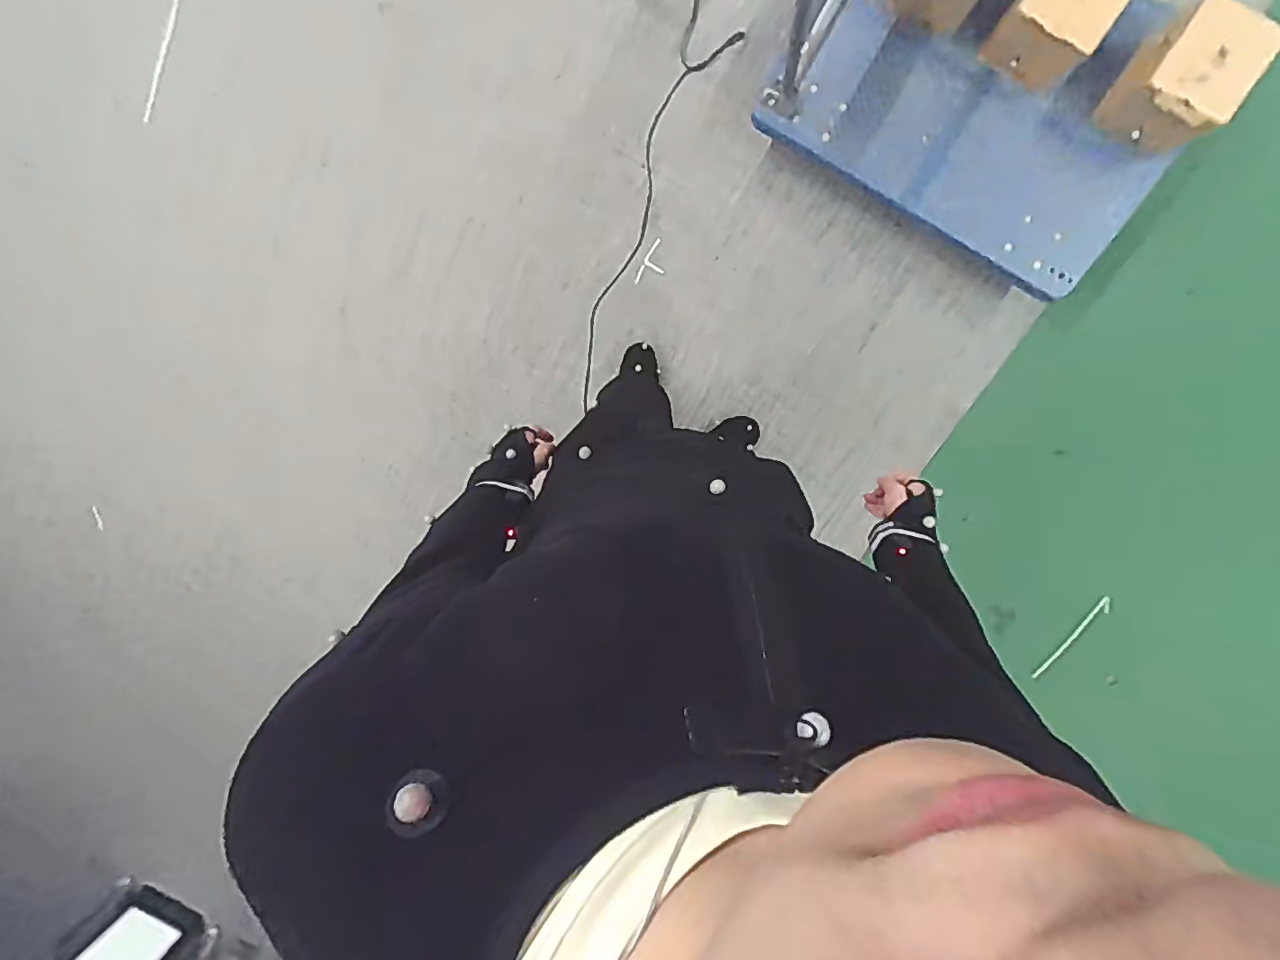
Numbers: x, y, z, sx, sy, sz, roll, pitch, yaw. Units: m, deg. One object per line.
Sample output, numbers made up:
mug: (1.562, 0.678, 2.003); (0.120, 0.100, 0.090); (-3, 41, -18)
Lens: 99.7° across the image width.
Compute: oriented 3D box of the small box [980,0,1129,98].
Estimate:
small box: (0.844, -0.938, 1.099); (0.168, 0.176, 0.179); (31, 105, 0)

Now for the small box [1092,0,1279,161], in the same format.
small box: (1.086, -0.796, 1.095); (0.168, 0.176, 0.179); (31, 104, 1)
